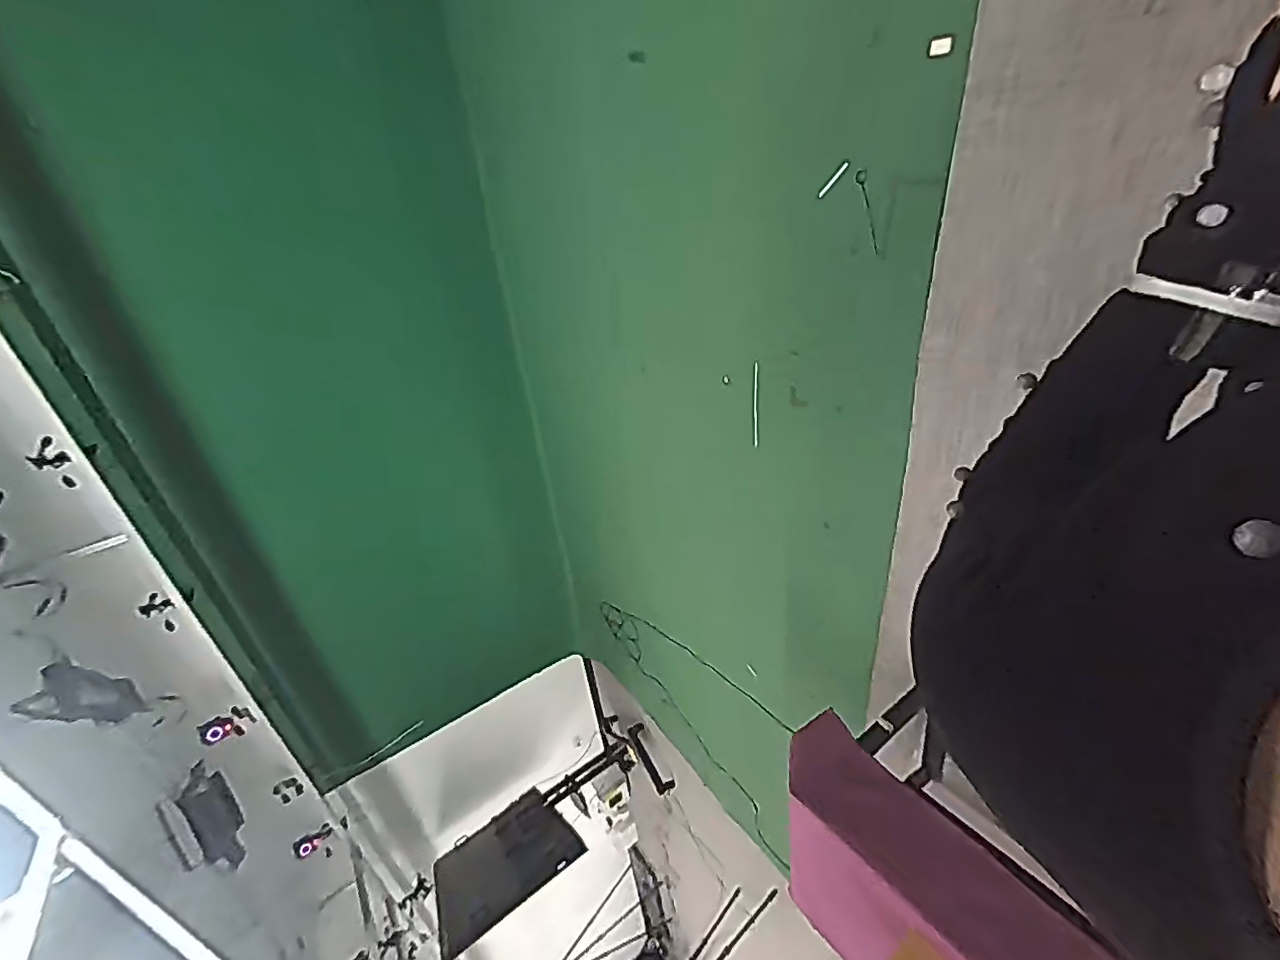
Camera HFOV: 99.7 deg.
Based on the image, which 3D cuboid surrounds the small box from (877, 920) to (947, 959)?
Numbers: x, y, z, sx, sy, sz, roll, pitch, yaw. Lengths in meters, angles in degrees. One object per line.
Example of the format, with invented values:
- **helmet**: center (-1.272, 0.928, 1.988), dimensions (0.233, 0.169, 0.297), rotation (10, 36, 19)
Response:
- **small box**: center (0.662, 1.215, 1.284), dimensions (0.179, 0.176, 0.168), rotation (33, 138, 49)
